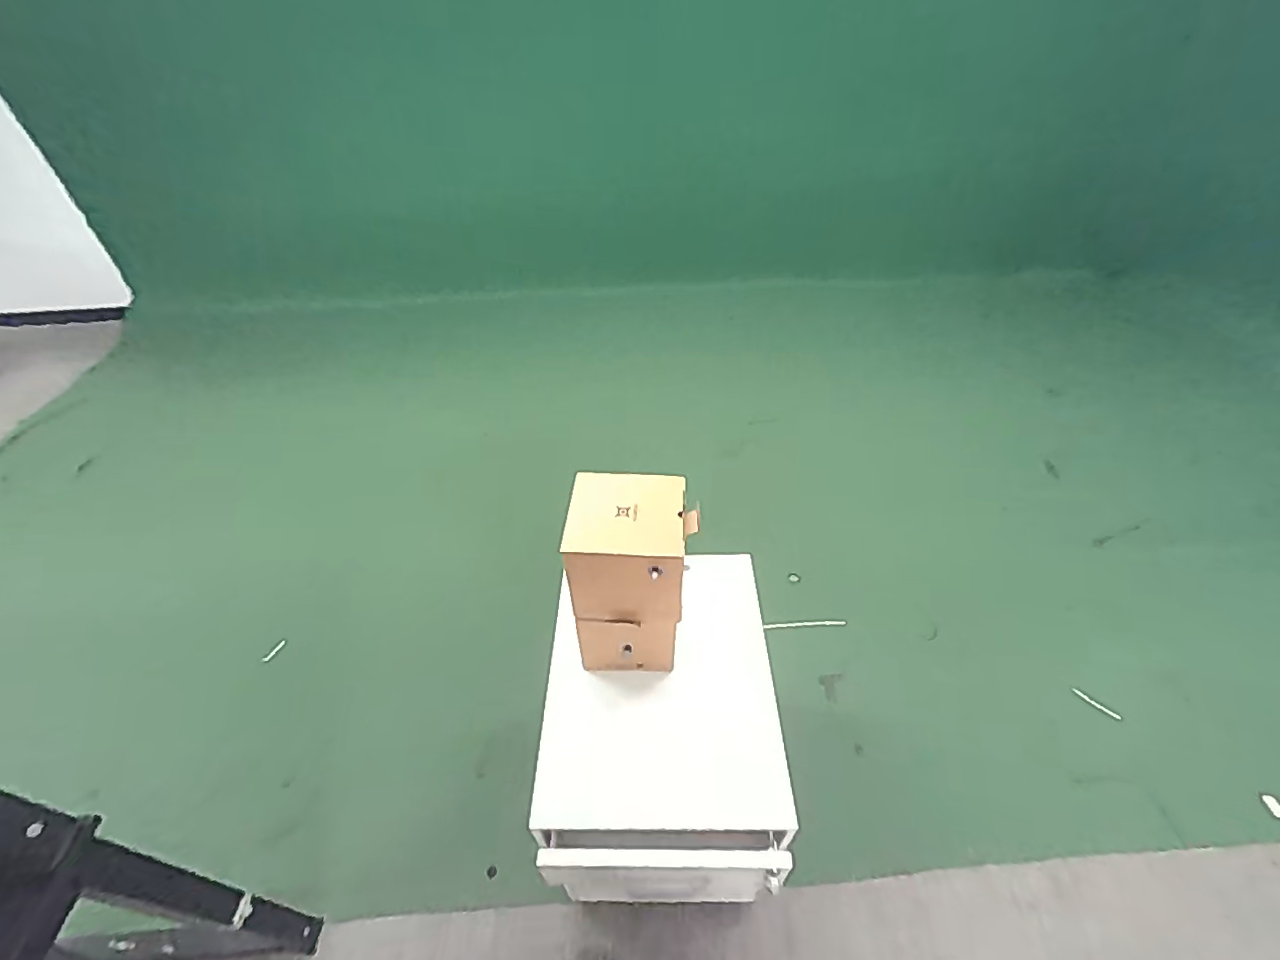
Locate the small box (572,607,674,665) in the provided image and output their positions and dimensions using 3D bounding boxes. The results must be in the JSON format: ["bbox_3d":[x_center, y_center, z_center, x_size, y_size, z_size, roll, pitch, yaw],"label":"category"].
[{"bbox_3d":[-0.022,0.214,0.964,0.168,0.176,0.179,0,44,1],"label":"small box"}]

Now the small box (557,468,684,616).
[{"bbox_3d":[-0.021,0.098,0.849,0.179,0.176,0.168,2,44,3],"label":"small box"}]
